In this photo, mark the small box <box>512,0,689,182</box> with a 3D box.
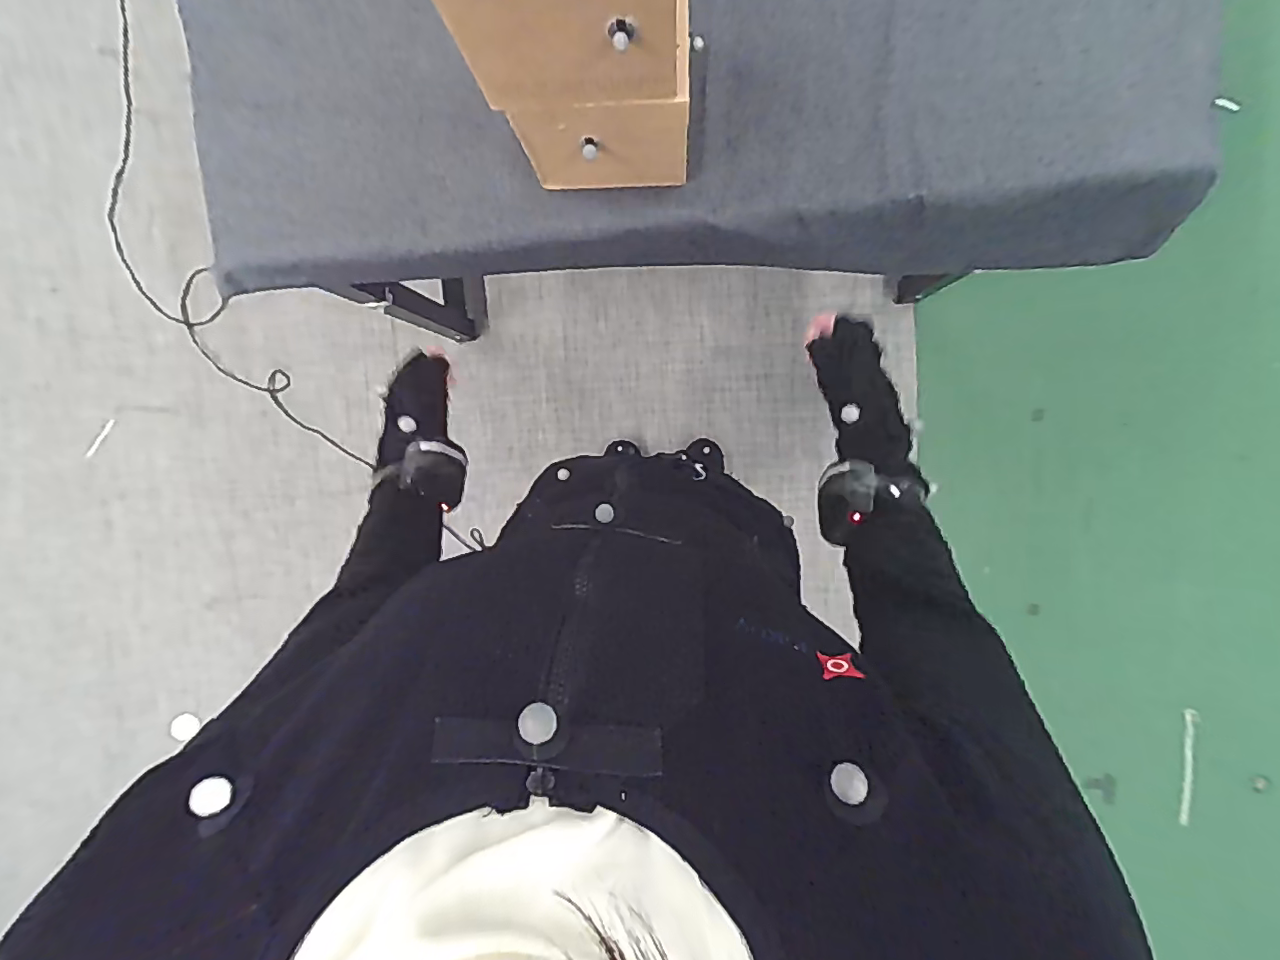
[{"bbox_3d":[-0.037,-0.442,0.581,0.179,0.176,0.168,0,95,4],"label":"small box"}]

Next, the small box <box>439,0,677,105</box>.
[{"bbox_3d":[-0.059,-0.430,0.421,0.179,0.176,0.168,-2,93,4],"label":"small box"}]
